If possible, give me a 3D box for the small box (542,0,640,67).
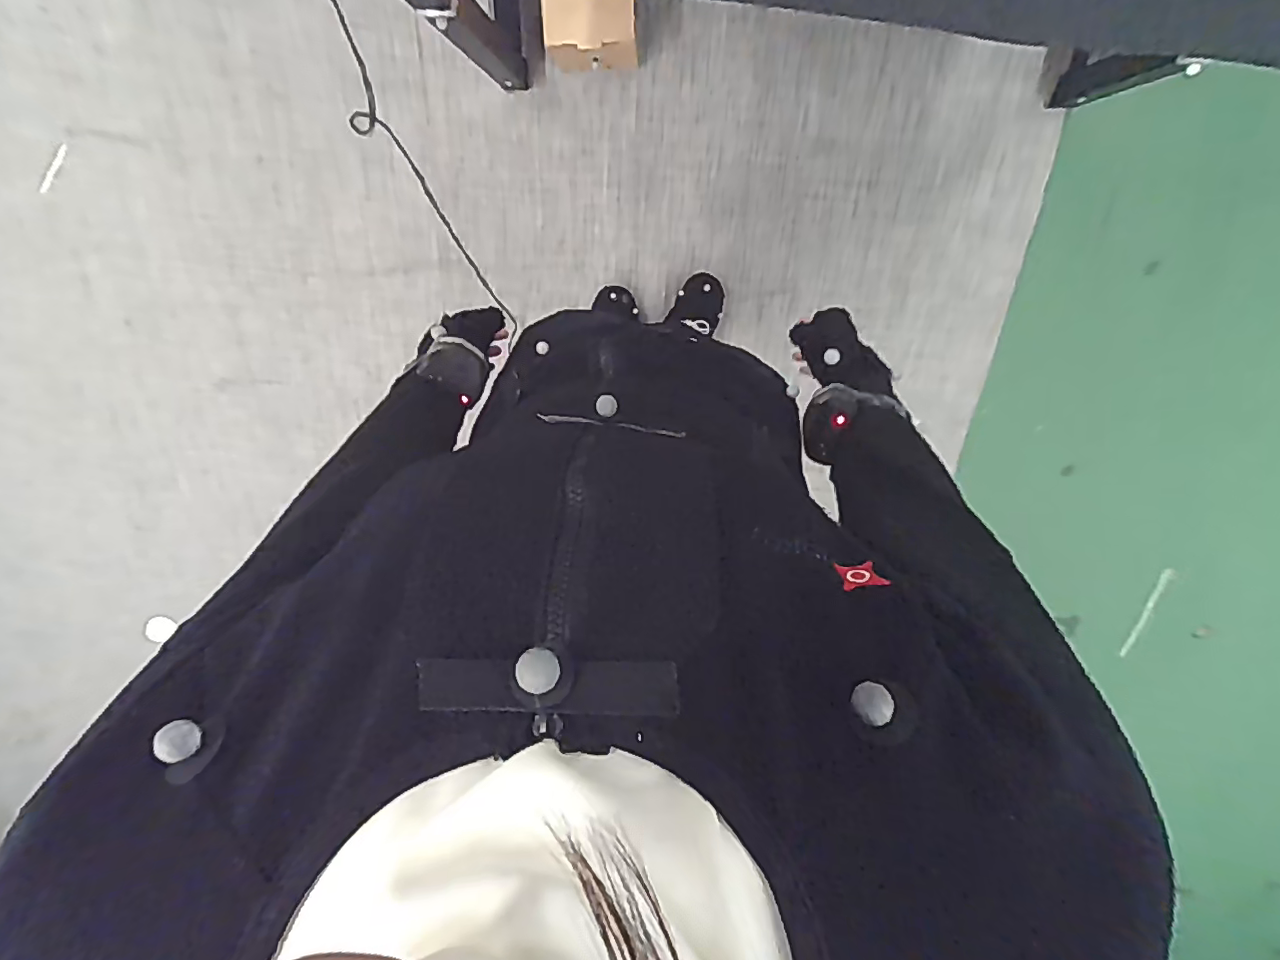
[{"bbox_3d":[-0.086,-0.896,1.010,0.168,0.176,0.179,0,114,3],"label":"small box"}]
